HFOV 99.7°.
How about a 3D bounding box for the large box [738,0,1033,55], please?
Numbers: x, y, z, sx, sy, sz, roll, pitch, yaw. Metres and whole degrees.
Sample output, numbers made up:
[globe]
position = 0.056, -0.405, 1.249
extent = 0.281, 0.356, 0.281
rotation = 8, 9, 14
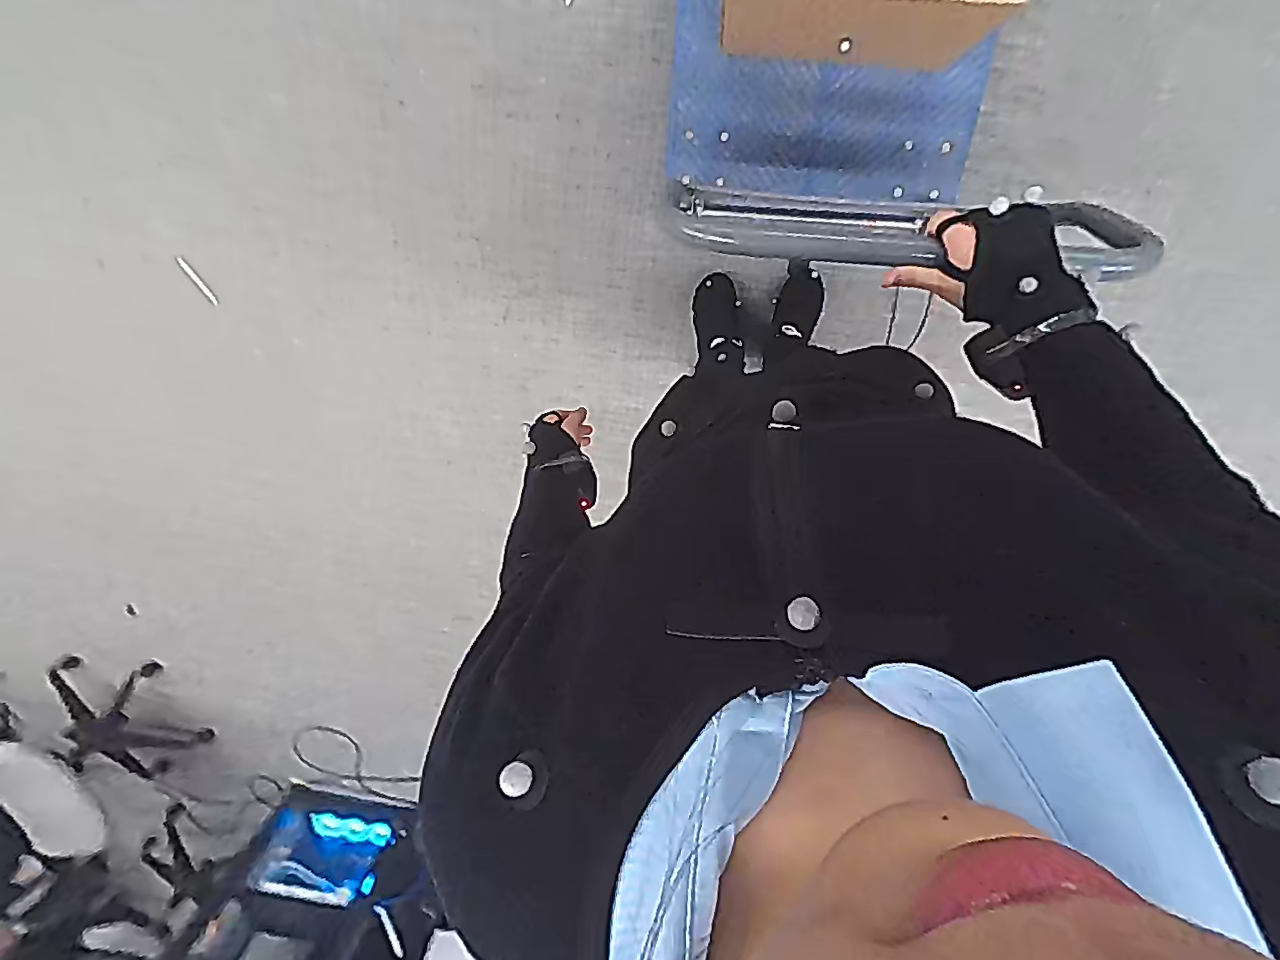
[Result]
[large box]
position = 0.373, -0.858, 0.778
extent = 0.408, 0.320, 0.320
rotation = 10, 114, 4
